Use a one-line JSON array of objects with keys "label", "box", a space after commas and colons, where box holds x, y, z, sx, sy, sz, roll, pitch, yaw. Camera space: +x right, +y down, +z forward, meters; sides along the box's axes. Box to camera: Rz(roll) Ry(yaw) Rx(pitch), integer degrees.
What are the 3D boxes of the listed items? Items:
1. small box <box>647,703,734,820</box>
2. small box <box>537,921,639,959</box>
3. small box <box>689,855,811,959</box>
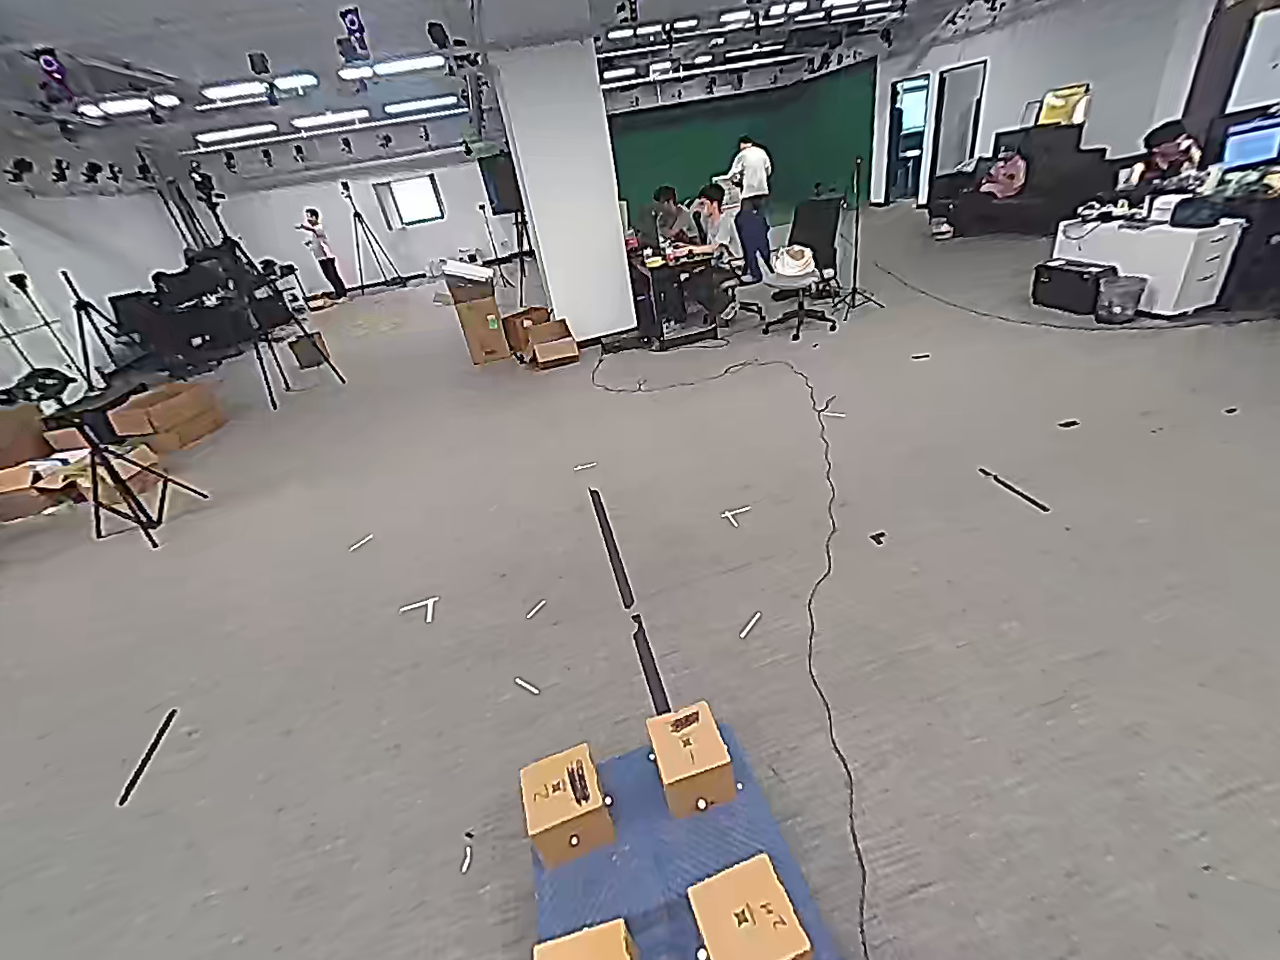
[{"label": "small box", "box": [0.126, 0.703, 1.355, 0.168, 0.176, 0.179, -16, 32, -8]}, {"label": "small box", "box": [-0.081, 0.963, 0.986, 0.179, 0.176, 0.168, -13, 30, -7]}, {"label": "small box", "box": [0.213, 0.876, 1.036, 0.179, 0.176, 0.168, -17, 31, -11]}]
